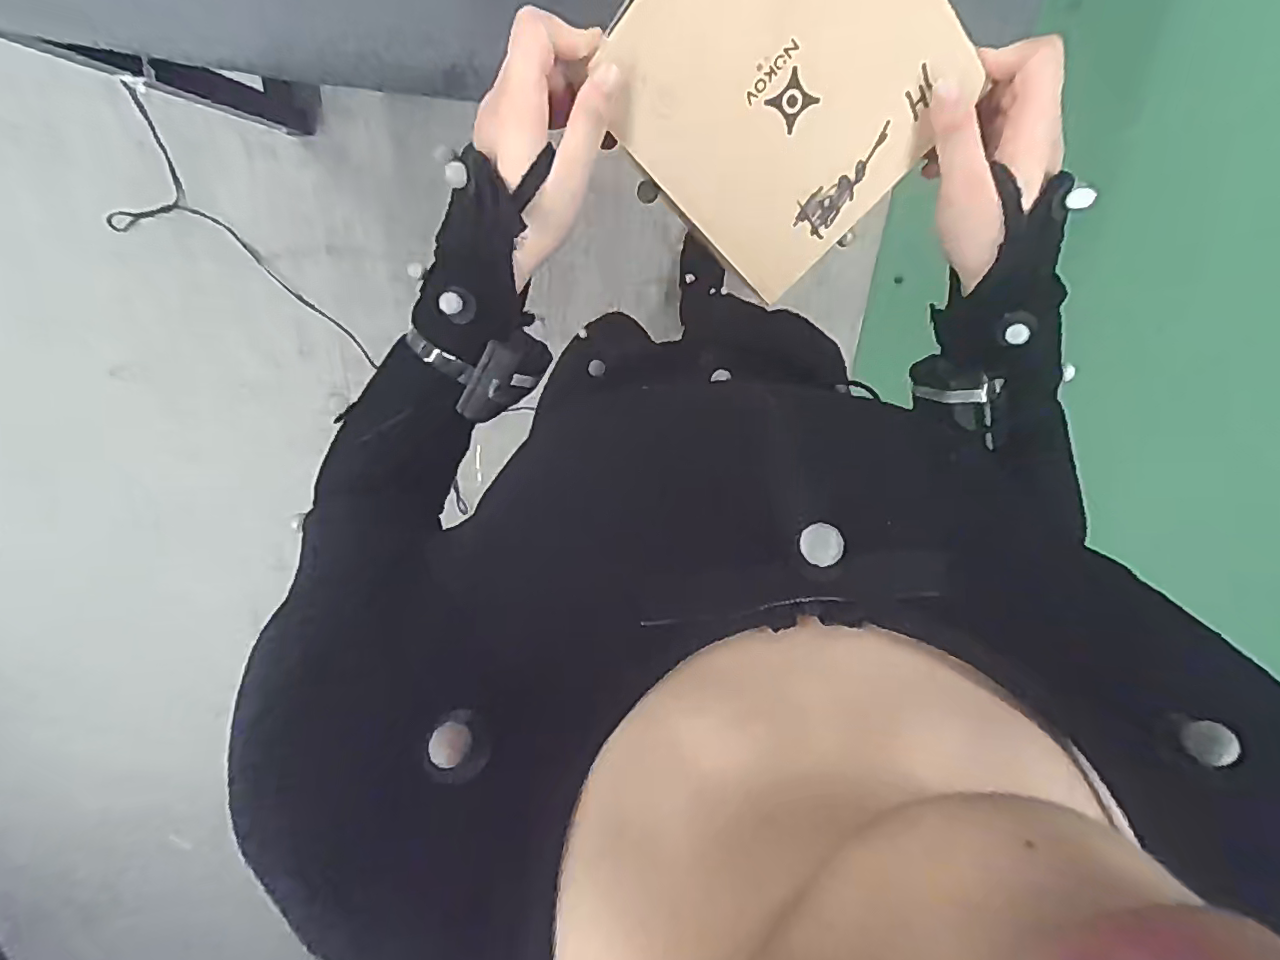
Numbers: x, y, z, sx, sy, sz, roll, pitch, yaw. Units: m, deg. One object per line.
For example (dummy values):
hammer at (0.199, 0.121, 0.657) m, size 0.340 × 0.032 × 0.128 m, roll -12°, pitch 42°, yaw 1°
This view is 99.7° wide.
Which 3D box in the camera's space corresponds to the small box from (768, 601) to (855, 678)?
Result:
small box at (0.494, 0.476, 1.585) m, size 0.179 × 0.176 × 0.168 m, roll 12°, pitch 111°, yaw -3°
